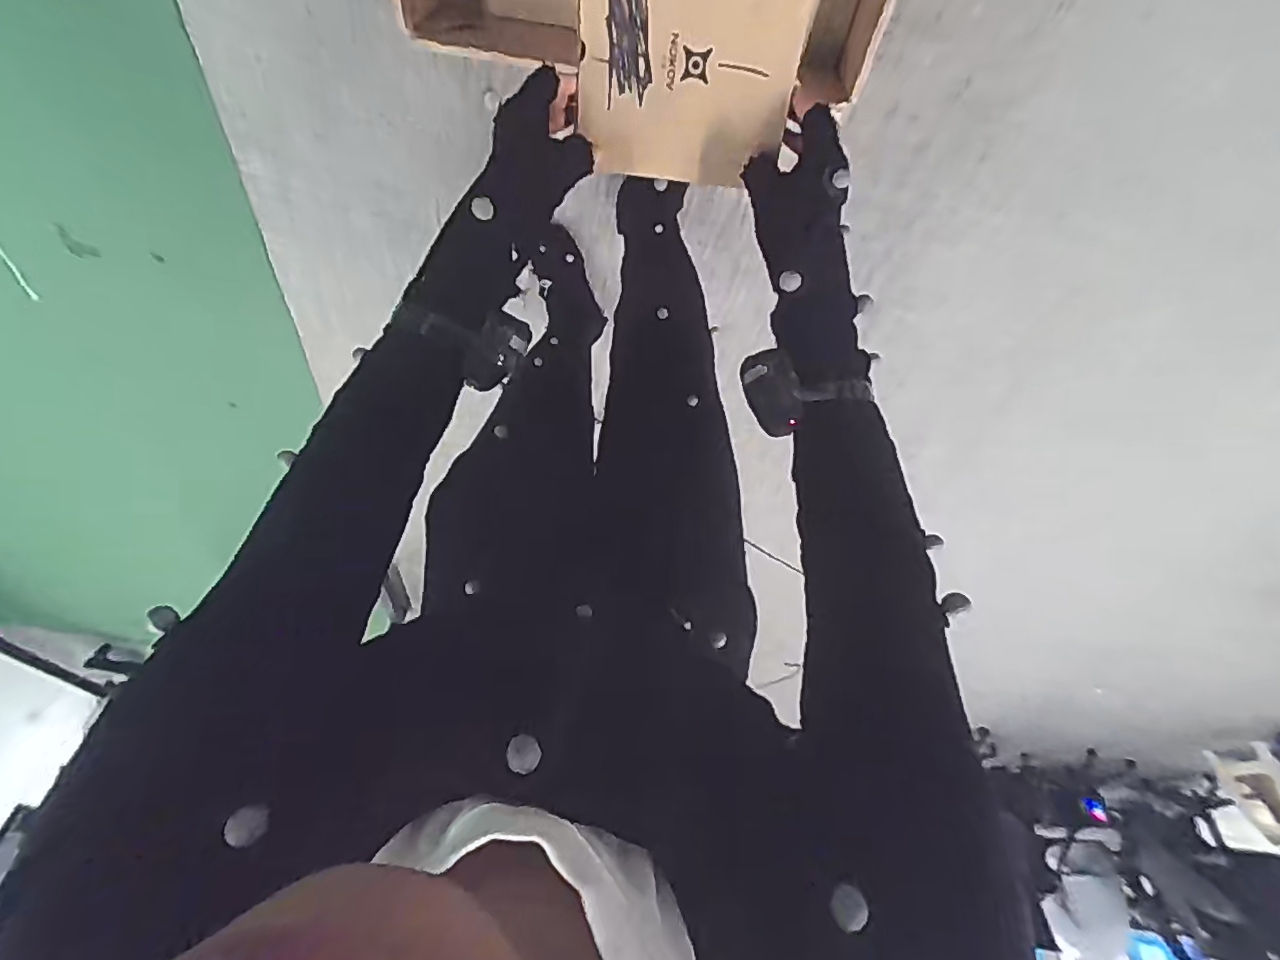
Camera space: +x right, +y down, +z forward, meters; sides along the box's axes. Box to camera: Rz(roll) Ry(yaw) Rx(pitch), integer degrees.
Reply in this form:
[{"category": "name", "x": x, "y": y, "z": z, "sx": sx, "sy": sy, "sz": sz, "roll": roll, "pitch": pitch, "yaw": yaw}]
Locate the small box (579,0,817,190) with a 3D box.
[{"category": "small box", "x": 0.049, "y": -0.375, "z": 0.490, "sx": 0.179, "sy": 0.176, "sz": 0.168, "roll": 8, "pitch": 127, "yaw": 2}]
